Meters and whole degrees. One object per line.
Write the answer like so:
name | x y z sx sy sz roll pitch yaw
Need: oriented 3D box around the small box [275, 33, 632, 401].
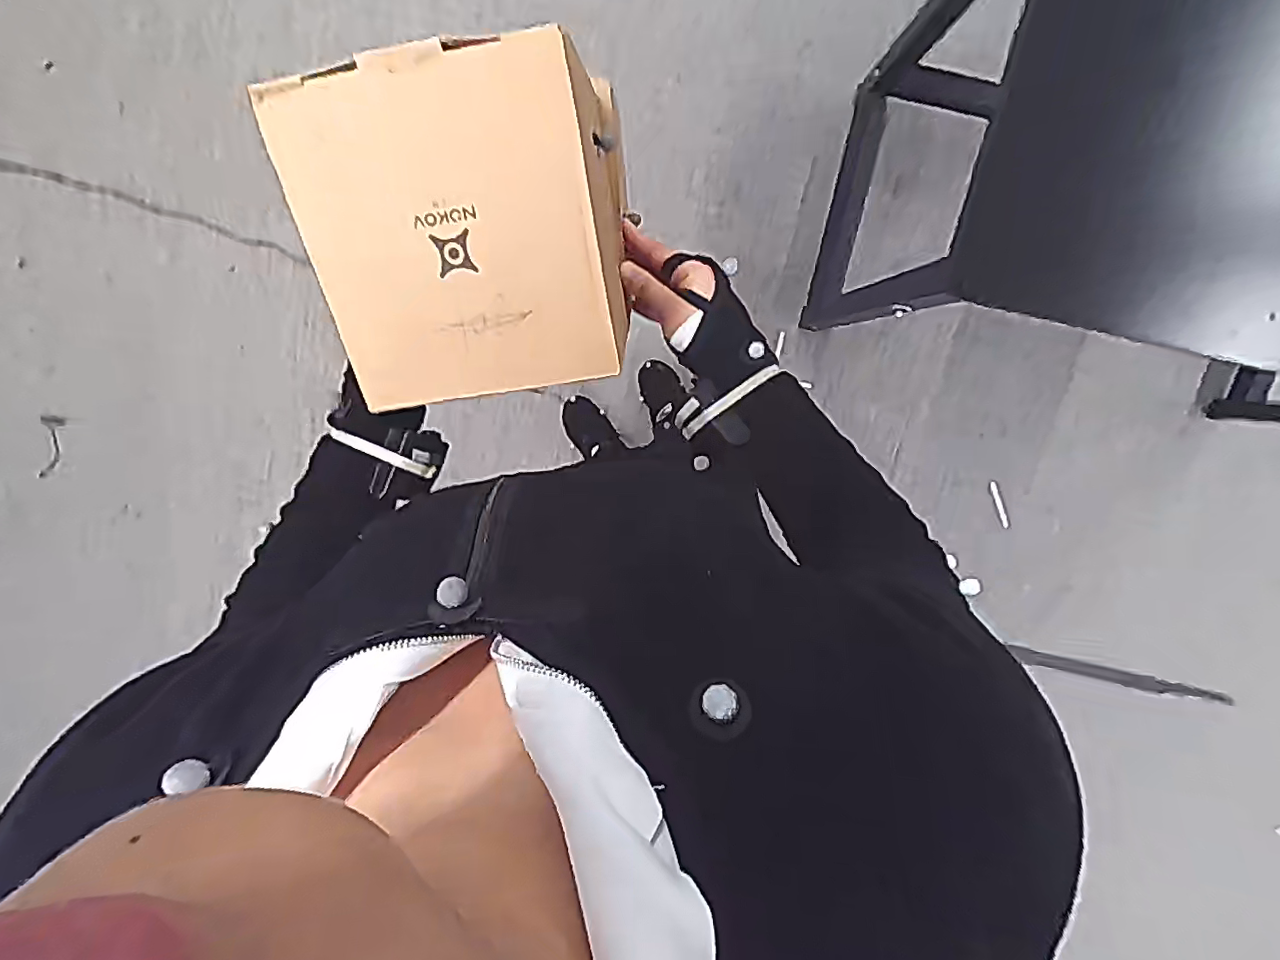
small box | -0.099 -0.171 0.383 0.168 0.176 0.179 -7 116 5

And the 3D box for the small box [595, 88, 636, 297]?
small box | -0.092 -0.253 0.526 0.168 0.176 0.179 -4 114 2
